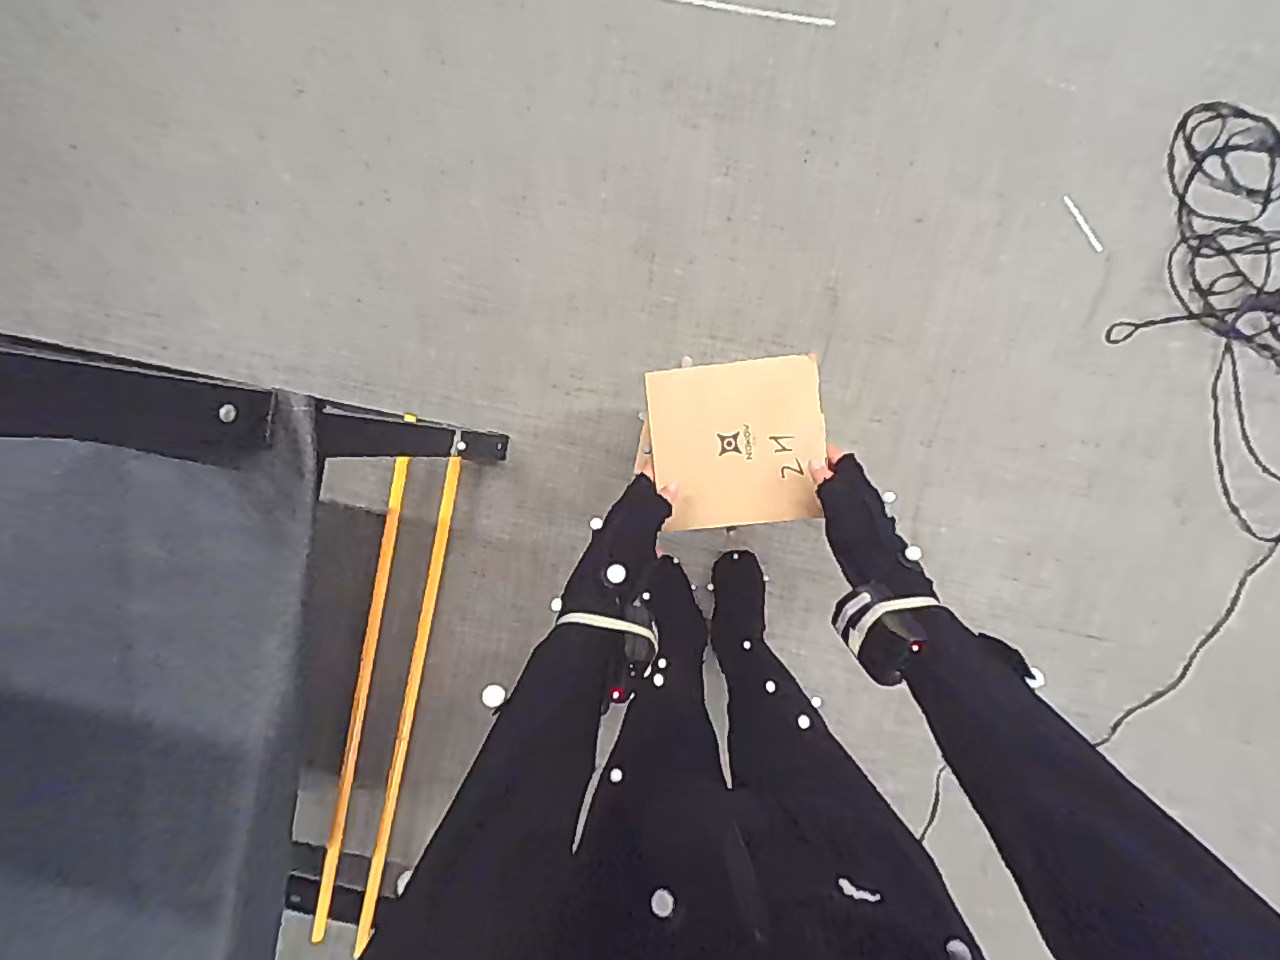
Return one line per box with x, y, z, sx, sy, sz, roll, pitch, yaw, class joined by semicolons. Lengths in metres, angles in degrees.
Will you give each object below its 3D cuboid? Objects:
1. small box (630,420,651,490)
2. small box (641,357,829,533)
0.092;-0.055;0.828;0.179;0.176;0.168;12;94;3;small box
0.101;-0.037;0.616;0.179;0.176;0.168;-5;93;4;small box
